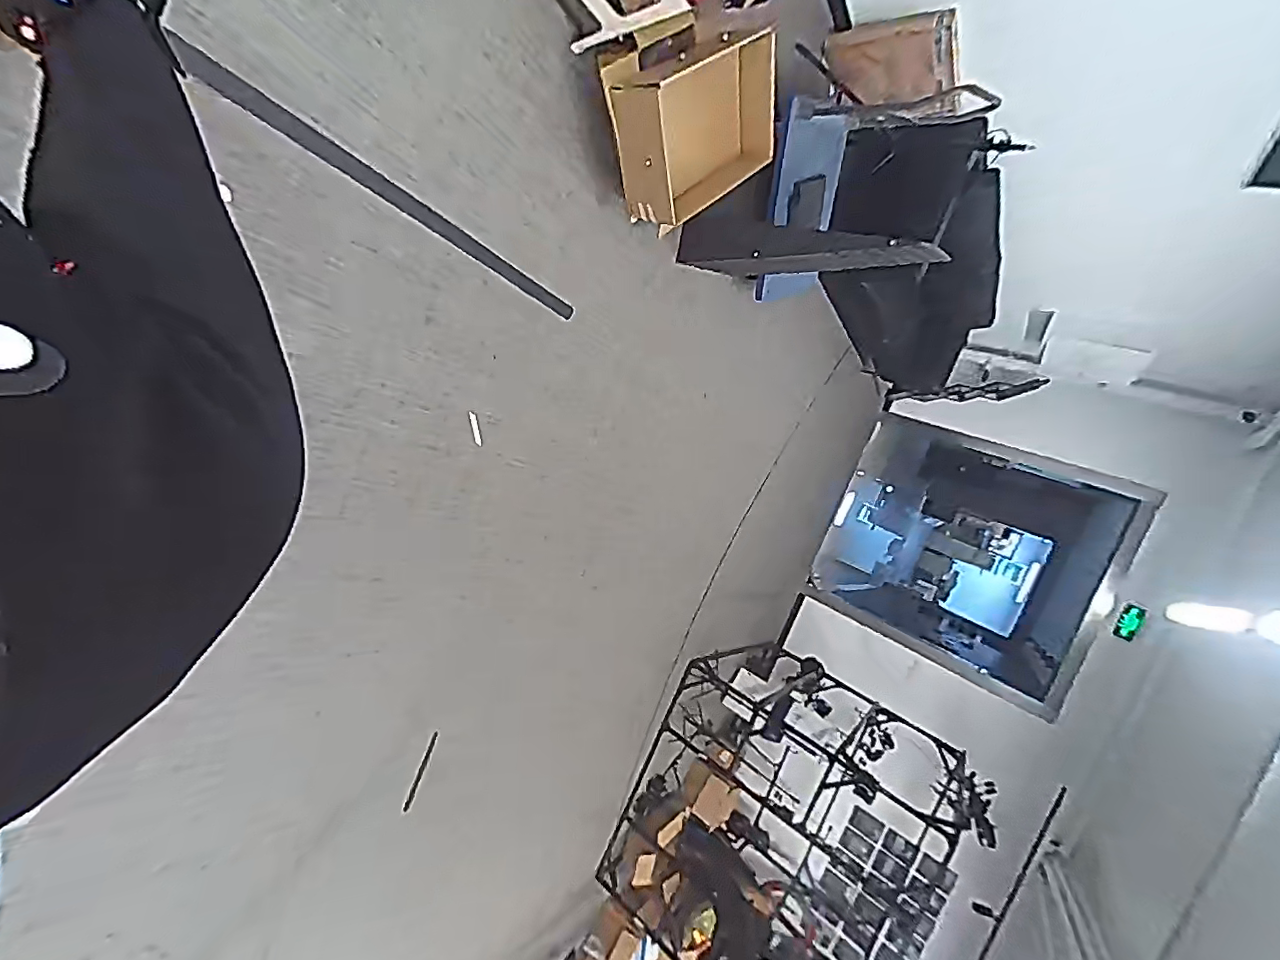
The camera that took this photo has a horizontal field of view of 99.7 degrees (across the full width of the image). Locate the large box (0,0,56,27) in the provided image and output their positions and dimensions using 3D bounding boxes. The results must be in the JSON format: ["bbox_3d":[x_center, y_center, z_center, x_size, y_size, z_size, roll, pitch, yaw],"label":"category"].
[{"bbox_3d":[-0.640,-0.544,0.296,0.408,0.320,0.320,-5,115,-54],"label":"large box"}]
